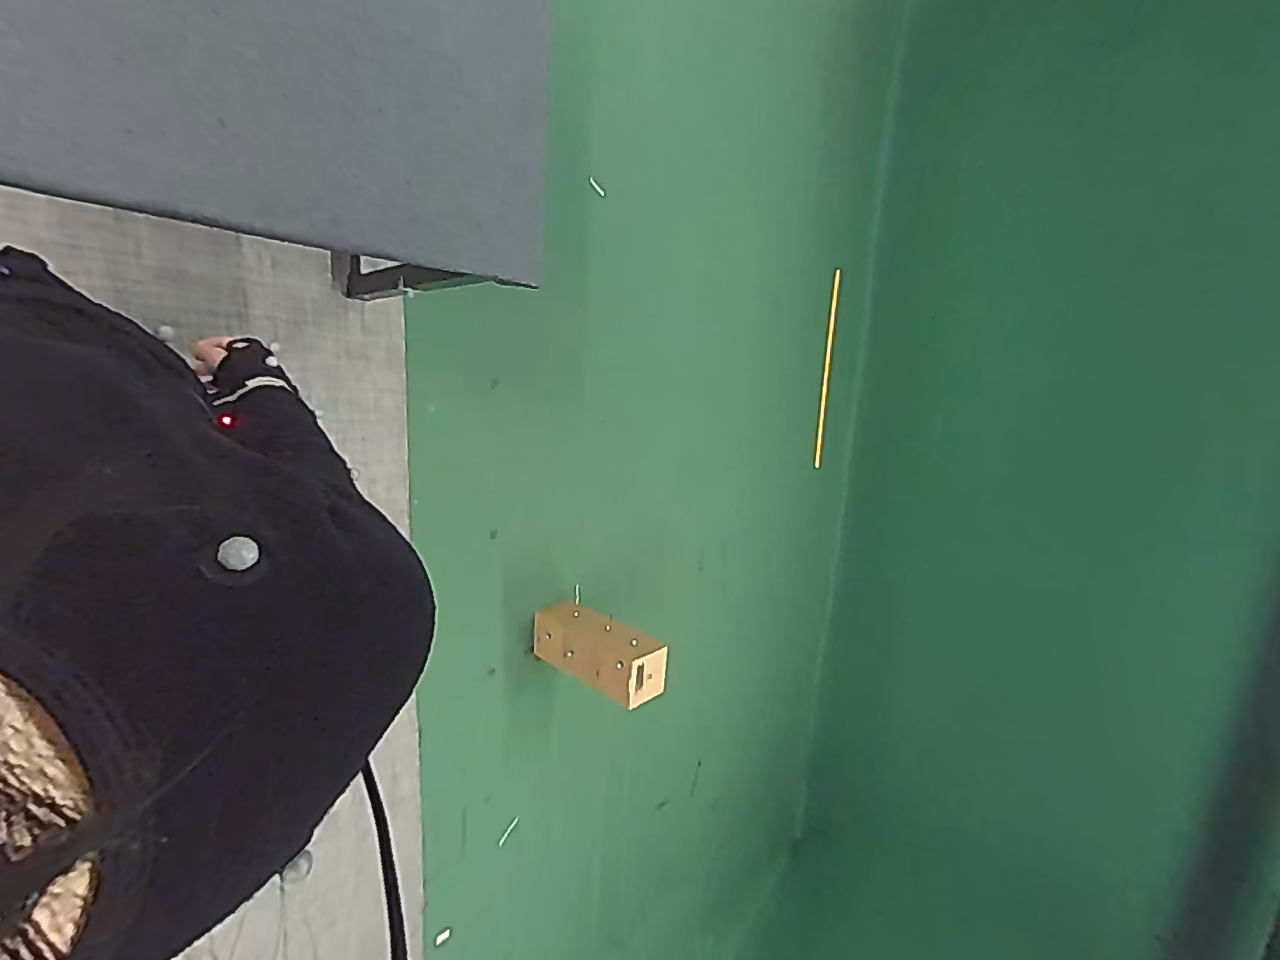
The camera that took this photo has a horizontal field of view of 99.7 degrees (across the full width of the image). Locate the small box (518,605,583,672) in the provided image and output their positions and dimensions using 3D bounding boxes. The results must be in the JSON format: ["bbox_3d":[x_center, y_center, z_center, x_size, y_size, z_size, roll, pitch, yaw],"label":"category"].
[{"bbox_3d":[-0.333,0.581,2.000,0.179,0.176,0.168,-7,104,-49],"label":"small box"}]

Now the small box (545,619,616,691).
[{"bbox_3d":[-0.209,0.604,1.893,0.179,0.176,0.168,-3,101,-49],"label":"small box"}]
